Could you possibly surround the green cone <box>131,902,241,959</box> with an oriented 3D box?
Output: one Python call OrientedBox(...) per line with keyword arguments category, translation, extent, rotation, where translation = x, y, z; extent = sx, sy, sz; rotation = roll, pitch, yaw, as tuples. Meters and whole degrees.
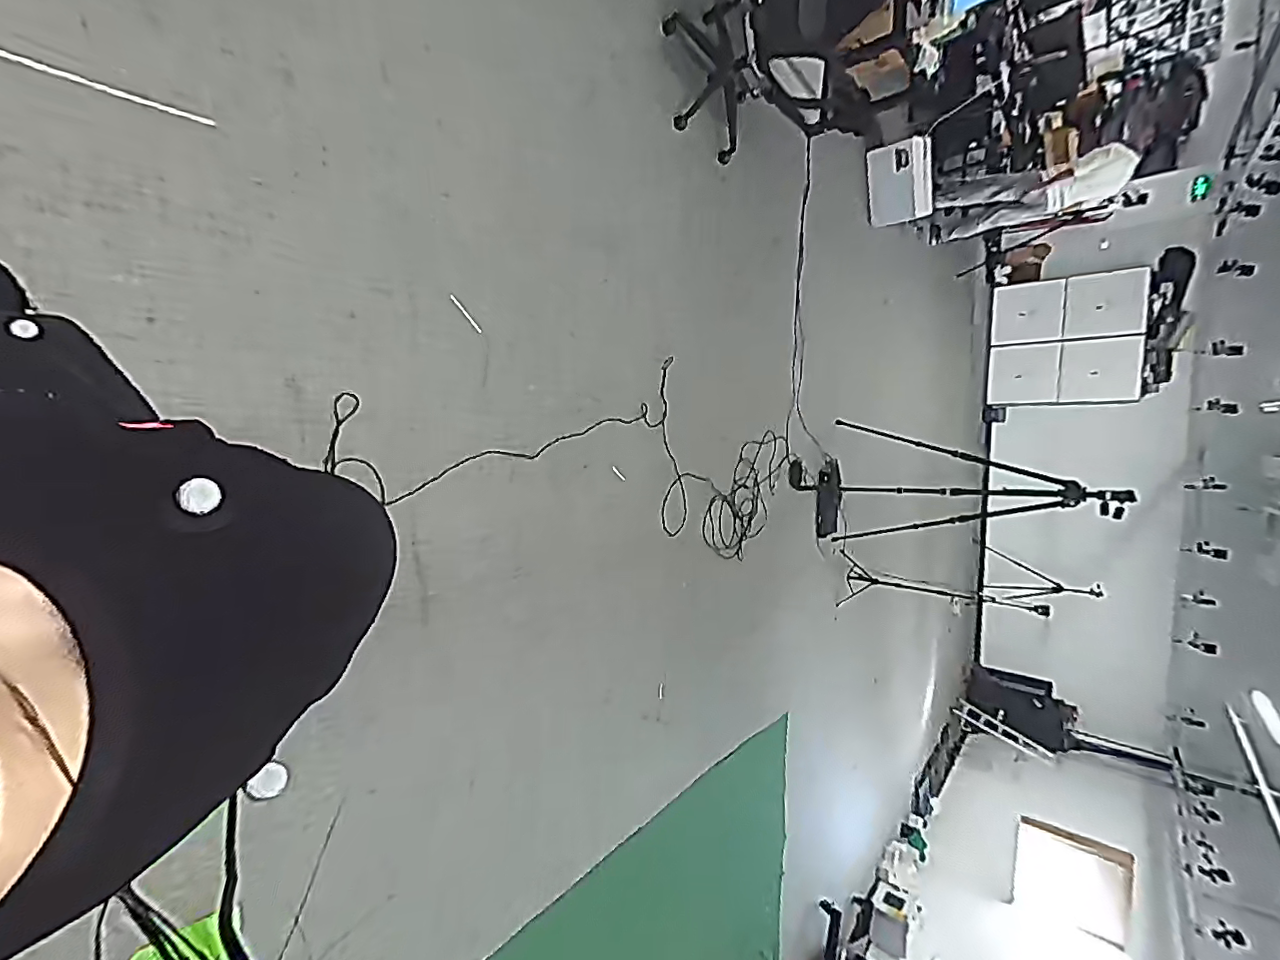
OrientedBox(category="green cone", translation=(-0.912, 1.129, 1.138), extent=(0.200, 0.368, 0.202), rotation=(-2, 94, -50))
